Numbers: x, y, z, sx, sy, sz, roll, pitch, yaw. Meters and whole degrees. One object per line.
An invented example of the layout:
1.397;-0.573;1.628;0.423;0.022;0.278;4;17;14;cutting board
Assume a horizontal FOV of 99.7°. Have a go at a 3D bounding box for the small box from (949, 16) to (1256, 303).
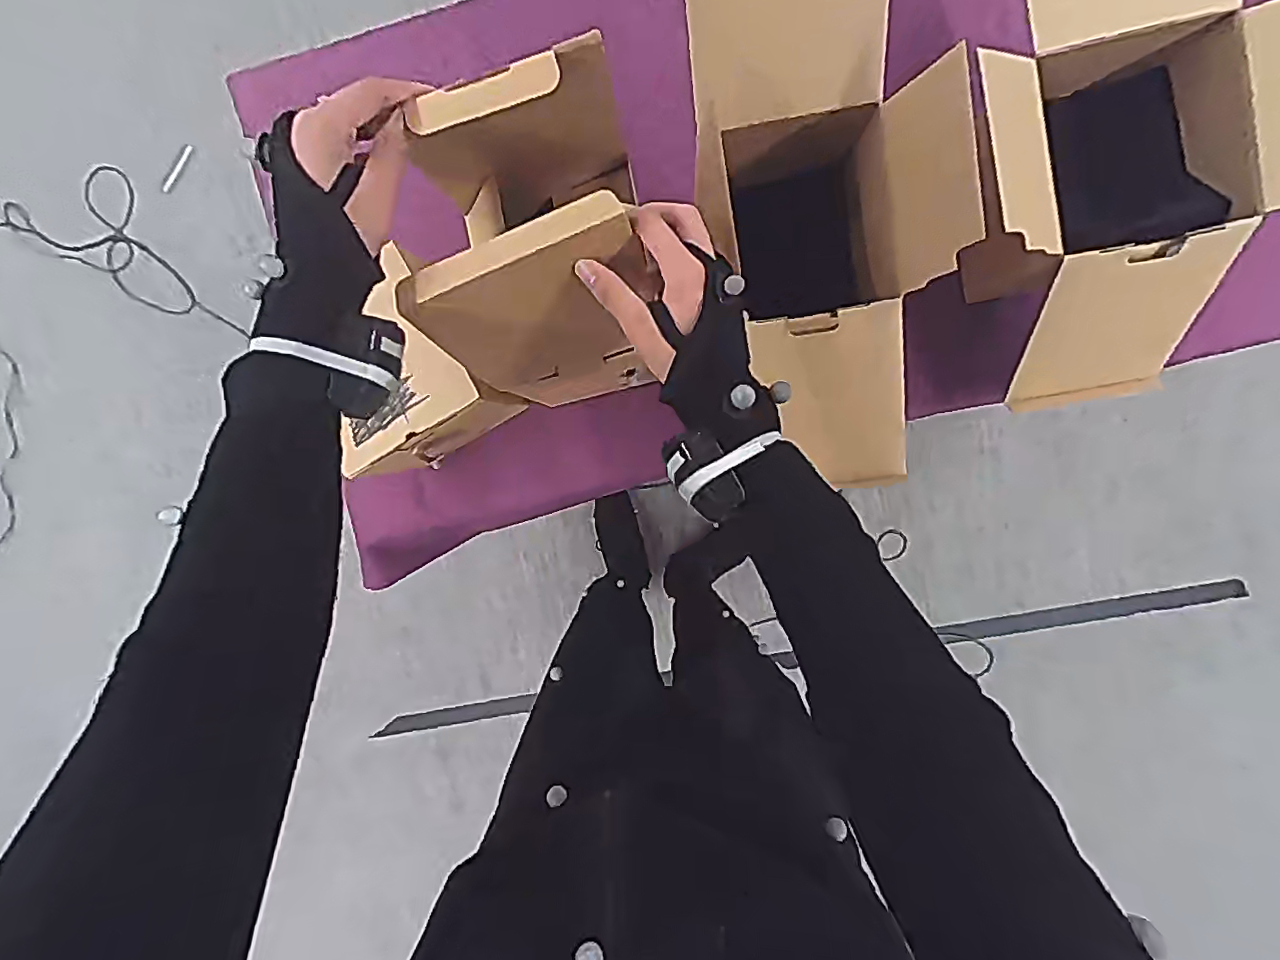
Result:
0.437;-0.297;0.541;0.168;0.176;0.179;-10;94;6;small box
